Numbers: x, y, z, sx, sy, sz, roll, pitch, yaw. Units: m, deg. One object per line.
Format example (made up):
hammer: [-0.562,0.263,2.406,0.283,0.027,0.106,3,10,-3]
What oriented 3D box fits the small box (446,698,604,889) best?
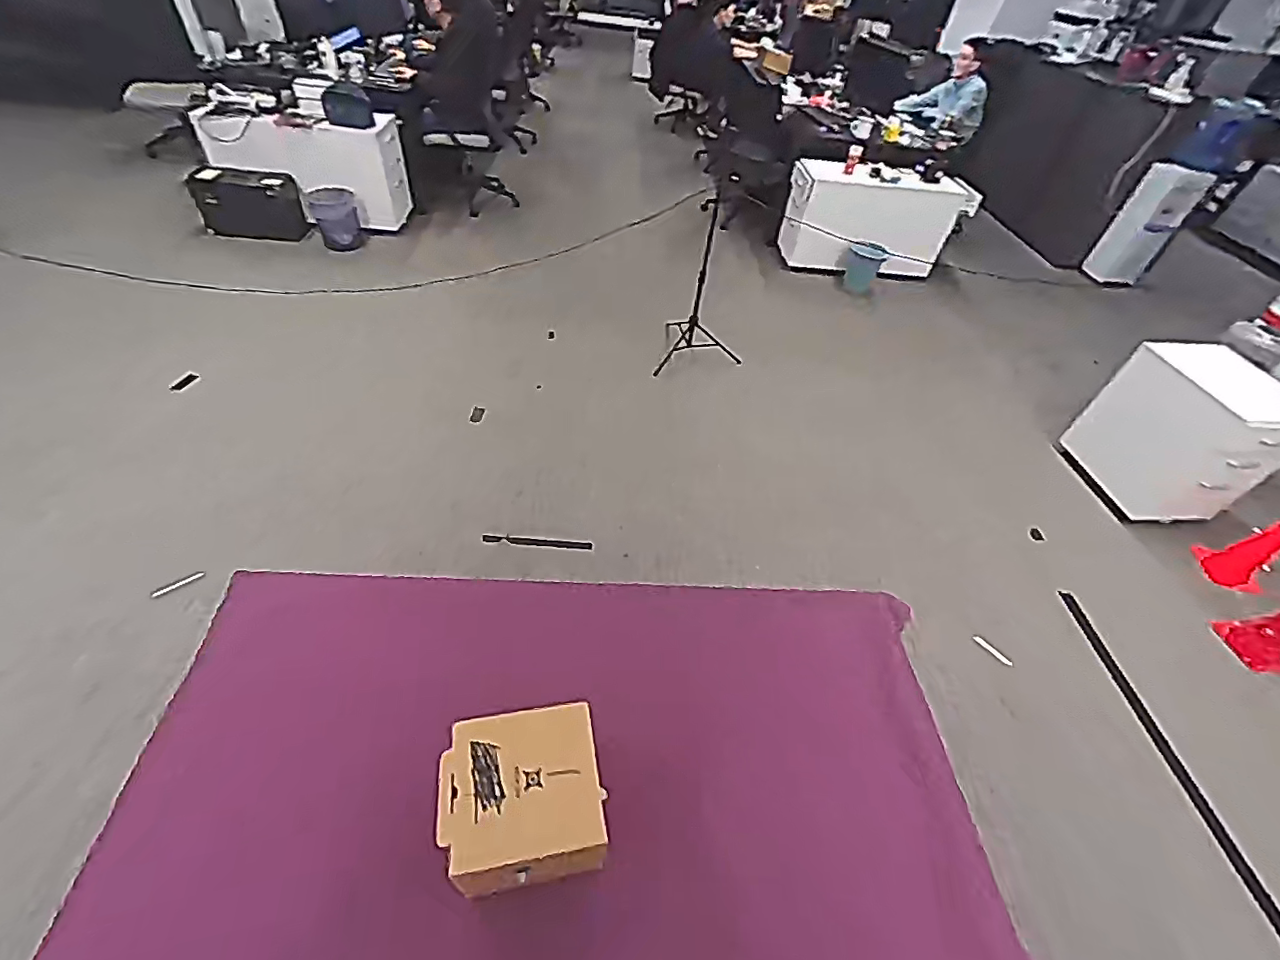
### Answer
small box: [-0.147,0.411,0.708,0.179,0.176,0.168,-4,48,-13]
